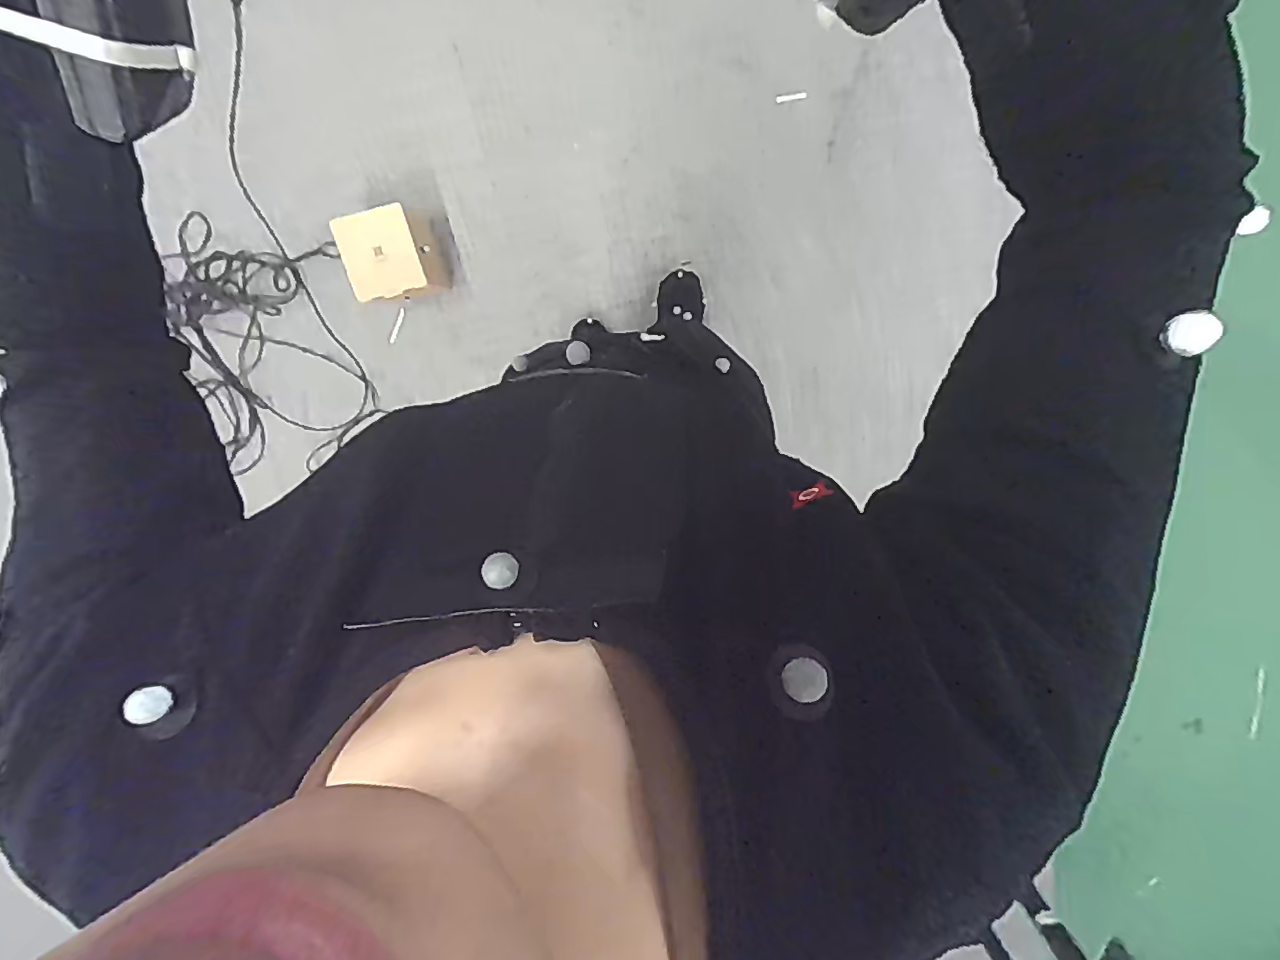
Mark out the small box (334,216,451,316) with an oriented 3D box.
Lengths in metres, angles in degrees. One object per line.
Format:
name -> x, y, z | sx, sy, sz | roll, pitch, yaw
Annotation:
small box -> -0.568, -0.492, 1.266 | 0.168, 0.176, 0.179 | -14, 106, 3
